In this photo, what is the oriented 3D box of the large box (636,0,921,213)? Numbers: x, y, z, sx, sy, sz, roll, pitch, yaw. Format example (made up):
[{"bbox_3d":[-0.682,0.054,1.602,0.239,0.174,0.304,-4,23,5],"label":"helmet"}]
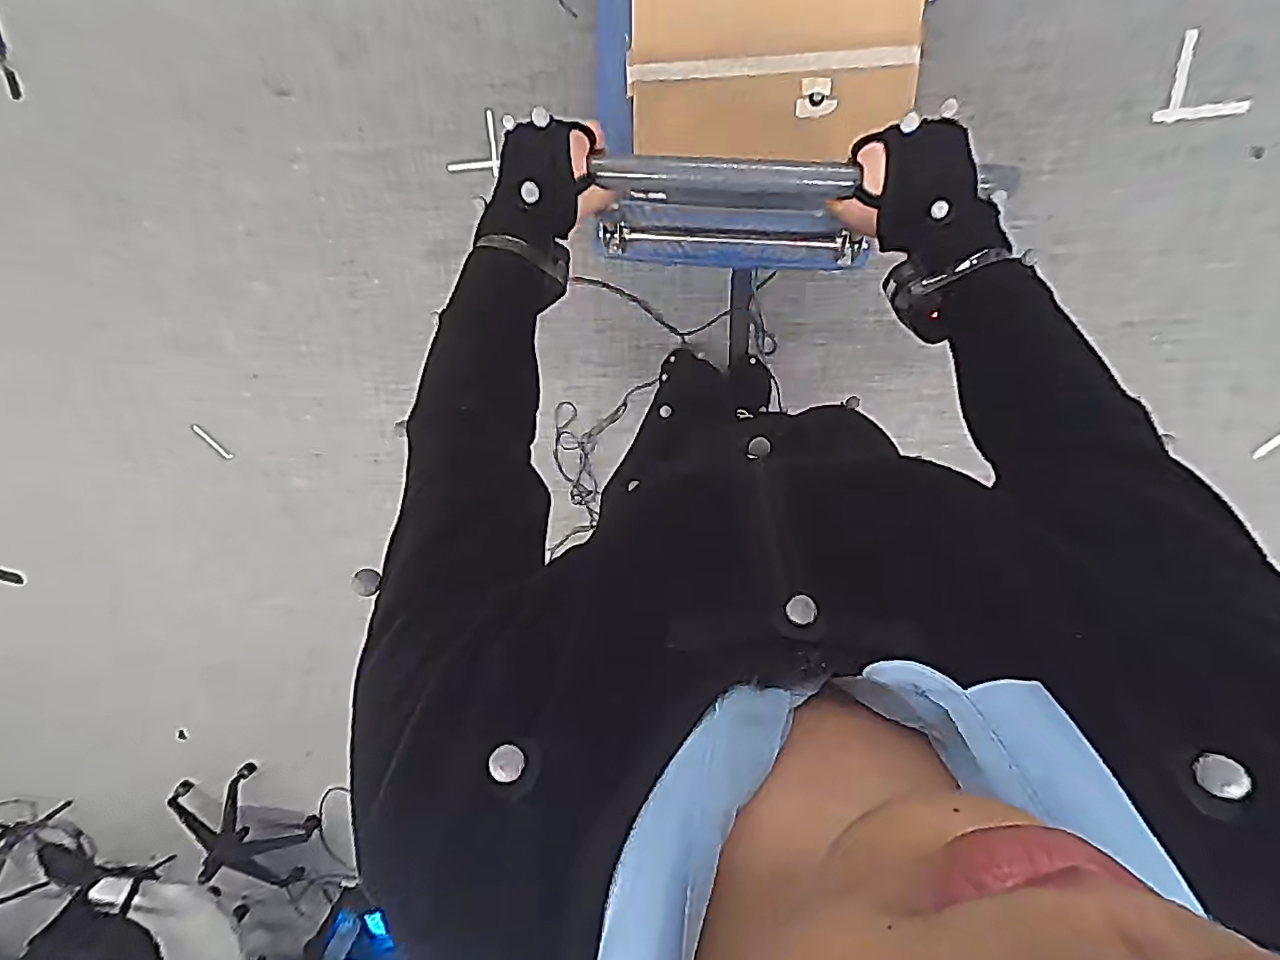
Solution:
[{"bbox_3d":[0.208,-0.657,0.931,0.408,0.320,0.320,1,111,6],"label":"large box"}]
